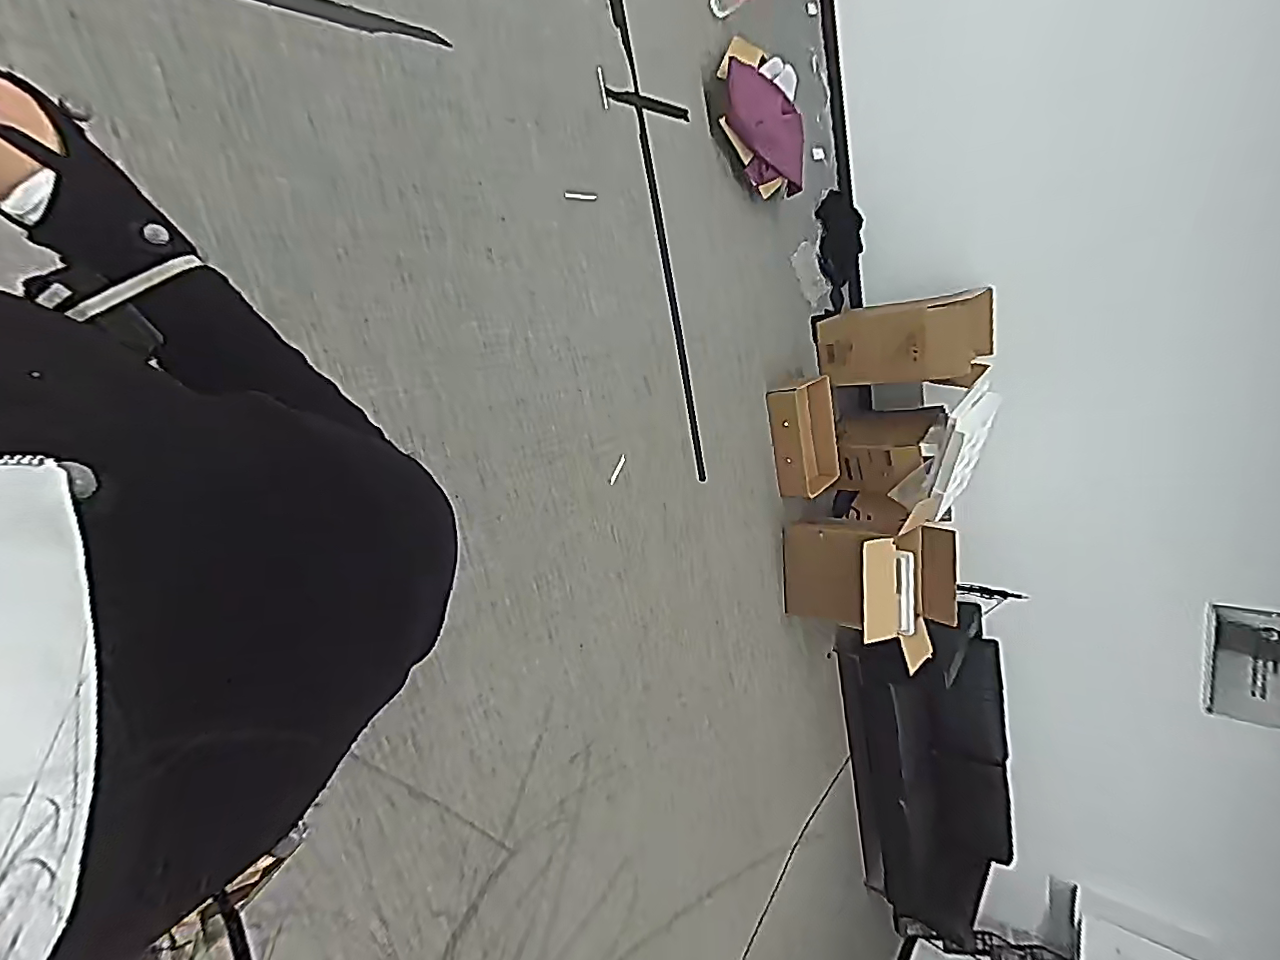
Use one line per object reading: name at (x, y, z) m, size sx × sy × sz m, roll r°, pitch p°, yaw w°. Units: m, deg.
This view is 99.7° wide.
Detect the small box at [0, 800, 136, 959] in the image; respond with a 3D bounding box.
small box at (-0.759, 0.542, 0.657) m, size 0.179 × 0.176 × 0.168 m, roll -26°, pitch 109°, yaw -42°
